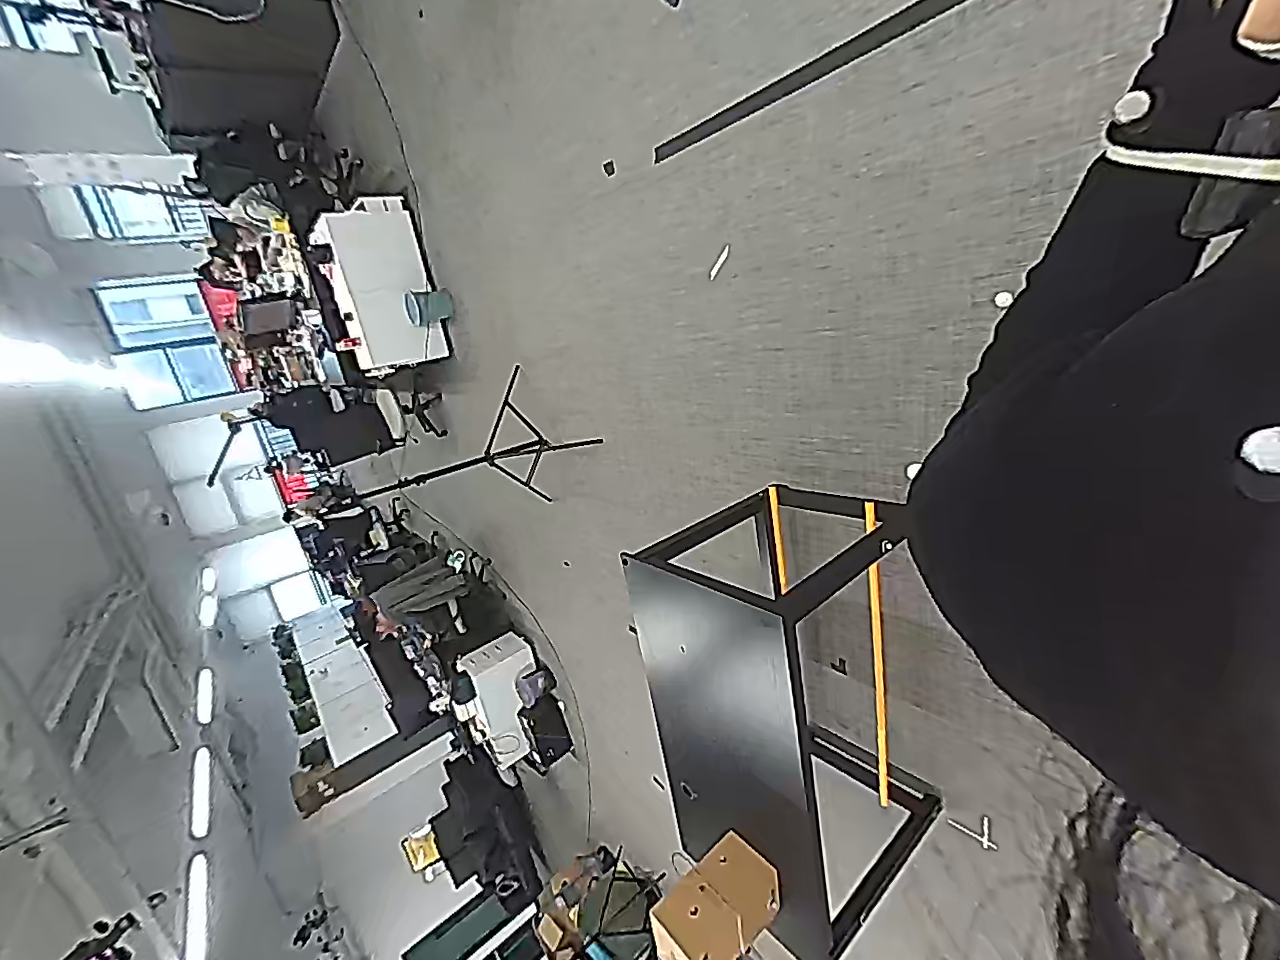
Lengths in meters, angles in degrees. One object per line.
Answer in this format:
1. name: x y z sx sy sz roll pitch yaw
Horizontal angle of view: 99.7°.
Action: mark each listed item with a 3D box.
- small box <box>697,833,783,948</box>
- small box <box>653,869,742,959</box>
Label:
1. small box: 0.291 1.173 1.566 0.179 0.176 0.168 15 121 49
2. small box: 0.161 1.230 1.483 0.168 0.176 0.179 16 122 51
